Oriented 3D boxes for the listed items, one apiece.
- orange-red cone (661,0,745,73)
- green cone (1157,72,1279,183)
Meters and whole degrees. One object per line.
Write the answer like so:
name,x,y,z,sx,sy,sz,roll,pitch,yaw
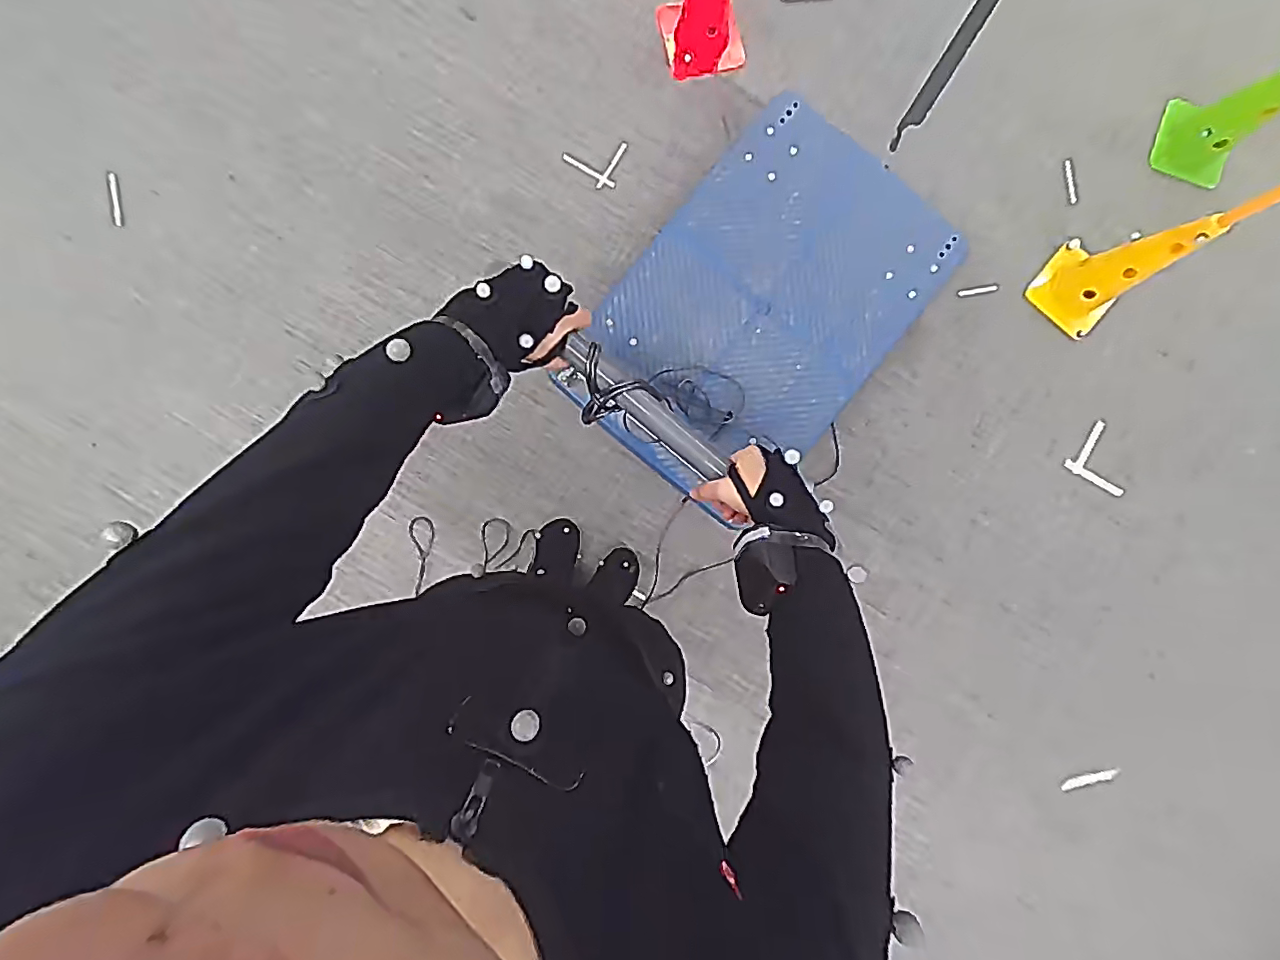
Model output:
orange-red cone,0.172,-1.164,1.227,0.199,0.360,0.198,-13,90,-4
green cone,1.495,-0.909,1.267,0.200,0.368,0.202,18,90,-1
